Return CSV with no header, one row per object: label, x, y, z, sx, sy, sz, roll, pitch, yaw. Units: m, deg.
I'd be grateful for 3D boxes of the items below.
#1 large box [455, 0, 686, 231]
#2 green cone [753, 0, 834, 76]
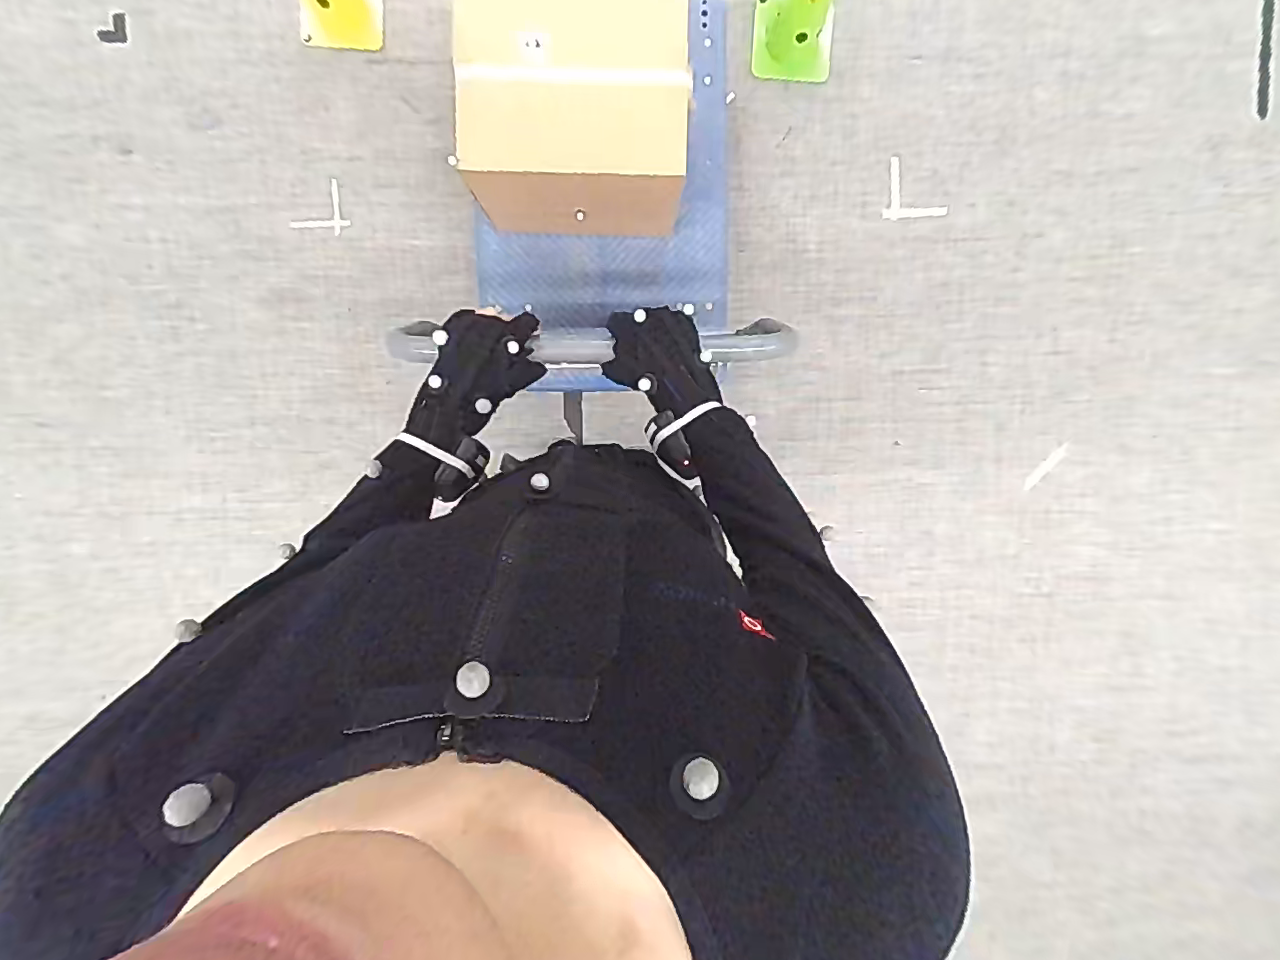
large box,-0.118,-0.710,1.089,0.408,0.320,0.320,0,95,-1
green cone,0.400,-1.128,1.208,0.202,0.368,0.200,3,95,-3
